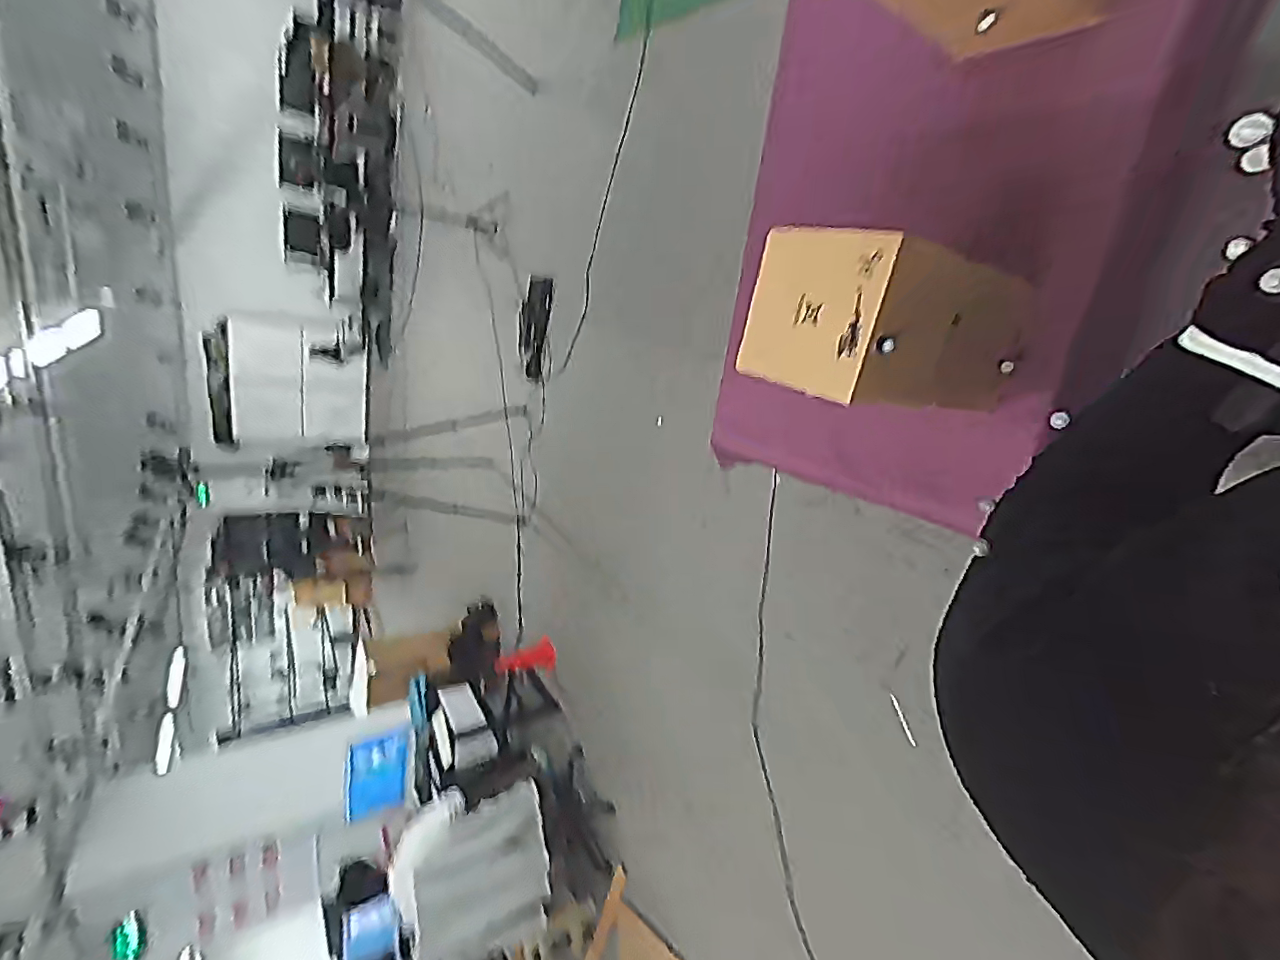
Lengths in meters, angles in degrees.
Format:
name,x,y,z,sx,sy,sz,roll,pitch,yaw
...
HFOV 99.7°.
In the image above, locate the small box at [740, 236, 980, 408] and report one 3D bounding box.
name,x,y,z,sx,sy,sz,roll,pitch,yaw
small box,0.254,-0.184,0.645,0.179,0.176,0.168,35,121,50
